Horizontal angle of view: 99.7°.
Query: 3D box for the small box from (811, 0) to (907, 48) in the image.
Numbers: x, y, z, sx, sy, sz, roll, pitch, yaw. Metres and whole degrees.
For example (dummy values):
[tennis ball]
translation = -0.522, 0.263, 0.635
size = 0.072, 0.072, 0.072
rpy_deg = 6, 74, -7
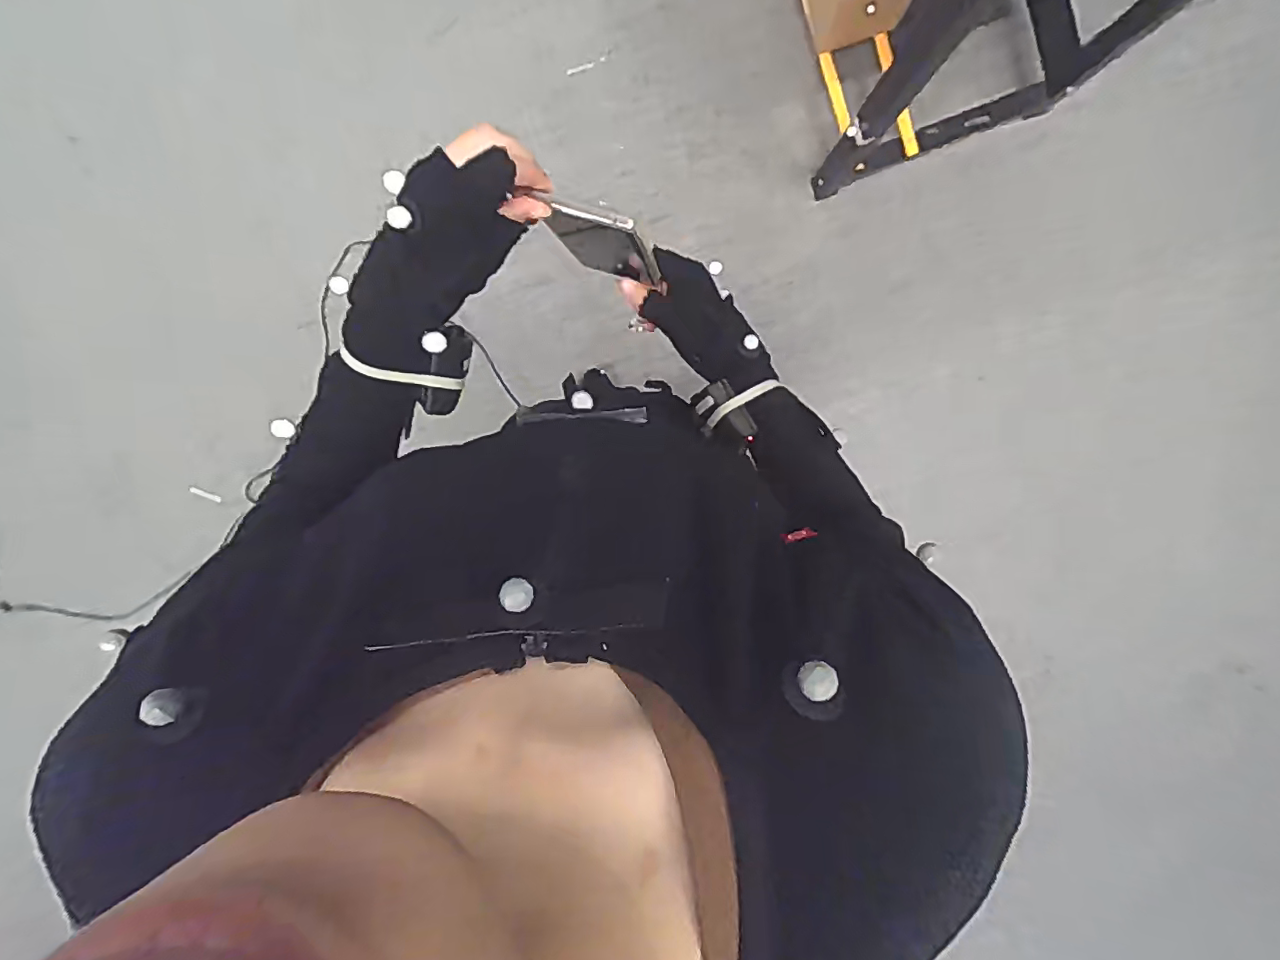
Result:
[small box]
translation = 0.452, -1.037, 1.102
size = 0.179, 0.176, 0.168
rpy_deg = -16, 98, 5
